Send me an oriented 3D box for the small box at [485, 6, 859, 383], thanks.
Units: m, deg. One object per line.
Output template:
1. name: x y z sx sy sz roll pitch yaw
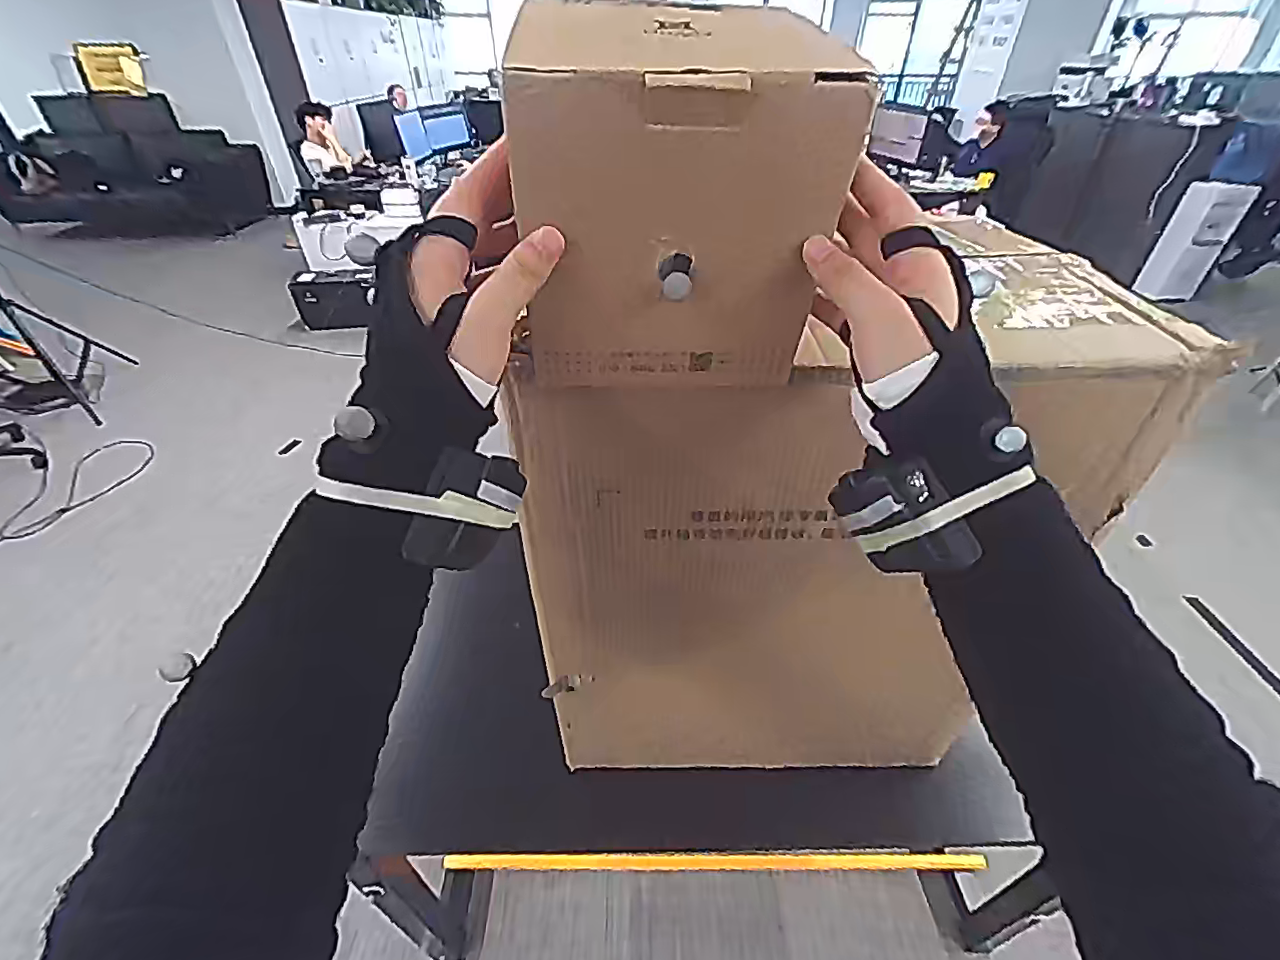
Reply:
1. small box: 0.009 -0.175 0.344 0.168 0.176 0.179 -1 49 -4
